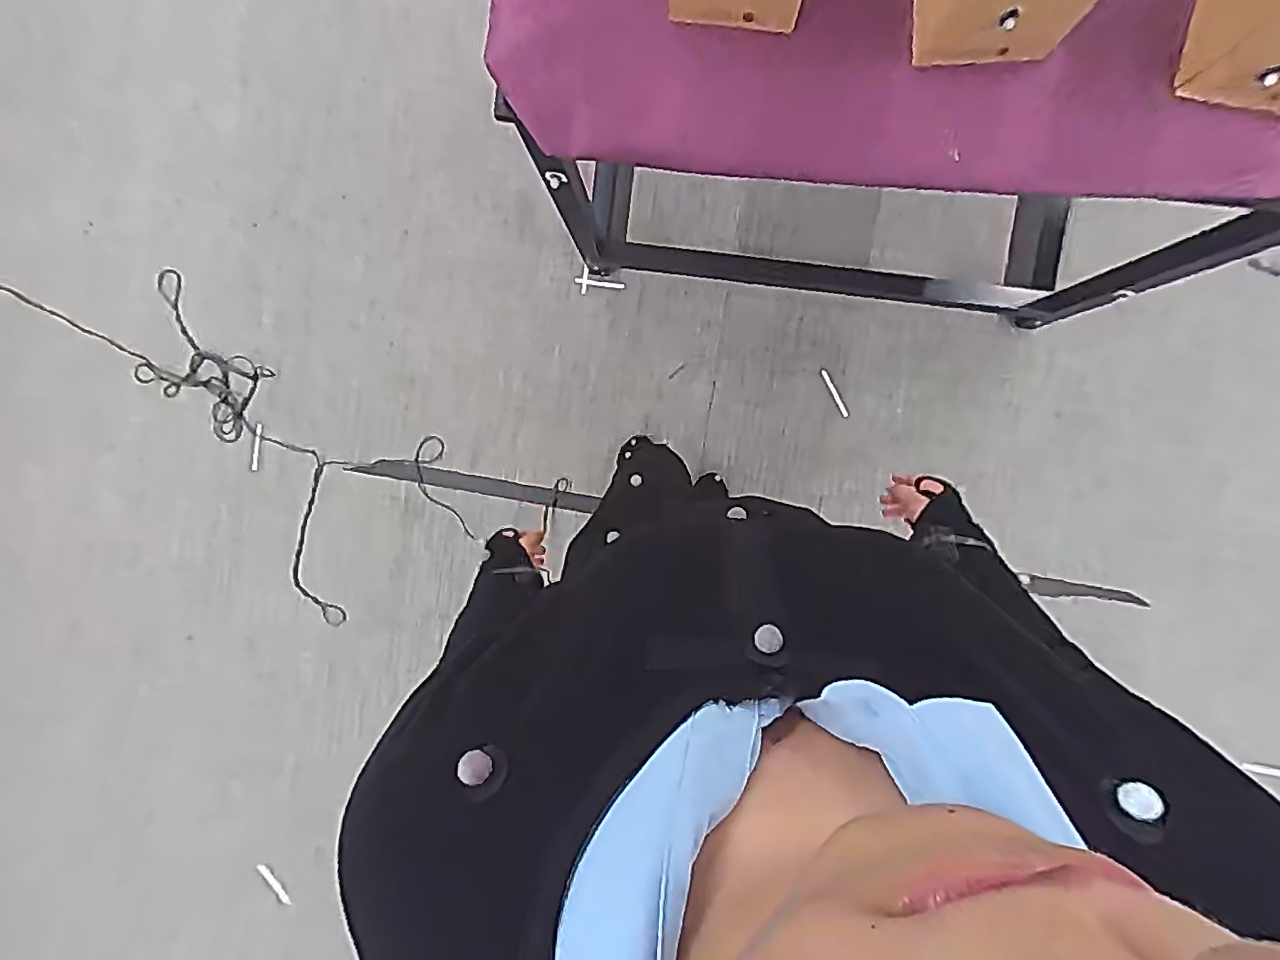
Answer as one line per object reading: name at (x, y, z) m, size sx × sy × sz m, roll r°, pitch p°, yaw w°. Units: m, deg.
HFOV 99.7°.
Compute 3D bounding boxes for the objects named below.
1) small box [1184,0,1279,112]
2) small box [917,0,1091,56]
small box at (0.774, -0.558, 0.598) m, size 0.168 × 0.176 × 0.179 m, roll 13°, pitch 93°, yaw 3°
small box at (0.435, -0.623, 0.615) m, size 0.168 × 0.176 × 0.179 m, roll 0°, pitch 93°, yaw 3°
